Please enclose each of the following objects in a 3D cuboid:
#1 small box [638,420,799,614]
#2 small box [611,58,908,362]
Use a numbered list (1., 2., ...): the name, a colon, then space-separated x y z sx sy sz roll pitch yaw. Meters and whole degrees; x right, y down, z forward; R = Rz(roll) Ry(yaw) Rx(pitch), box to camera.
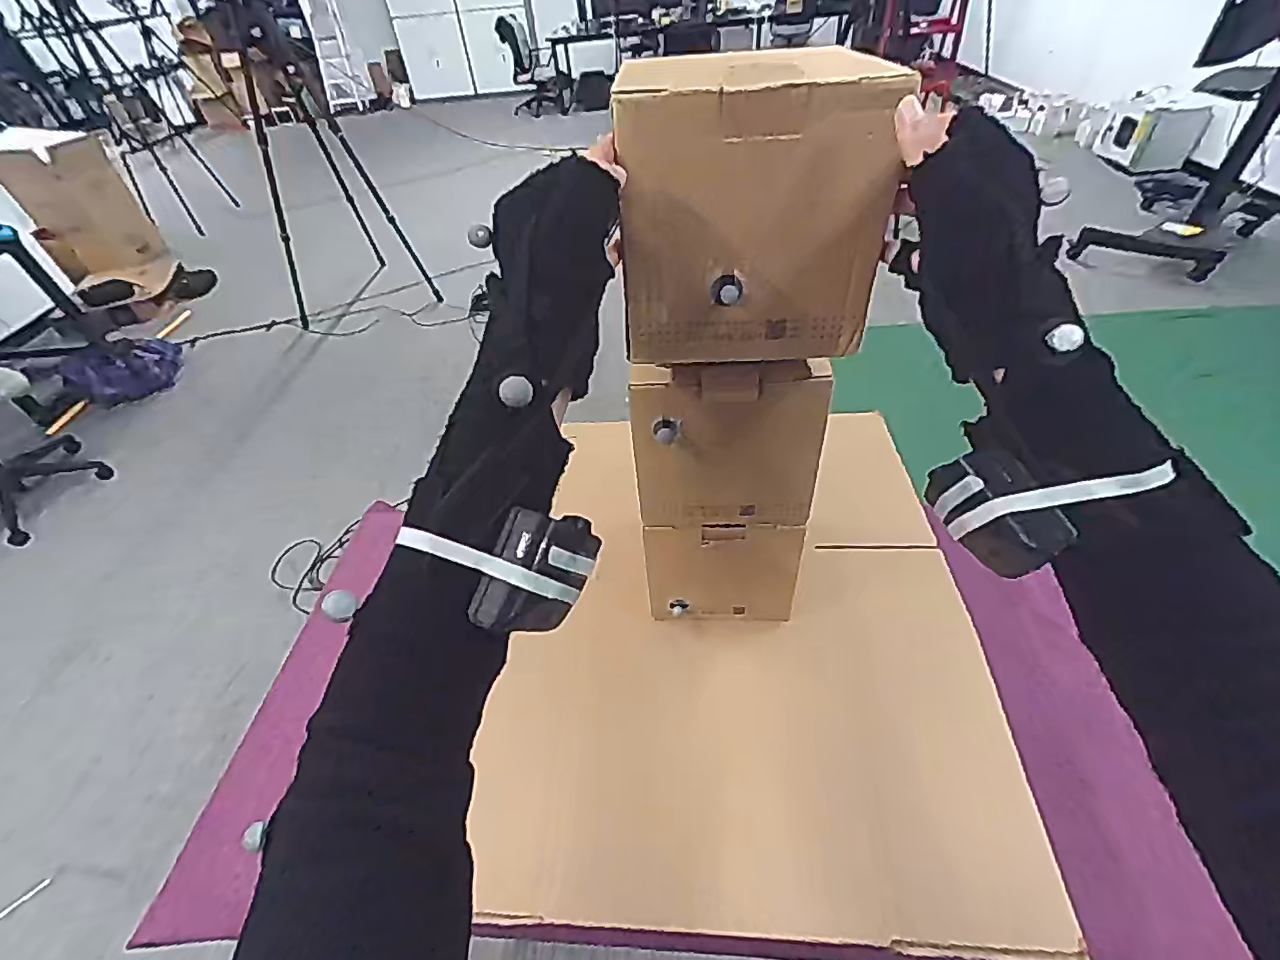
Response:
1. small box: 0.092 0.047 0.659 0.168 0.176 0.179 -1 42 5
2. small box: 0.070 -0.205 0.411 0.168 0.176 0.179 -2 43 3
